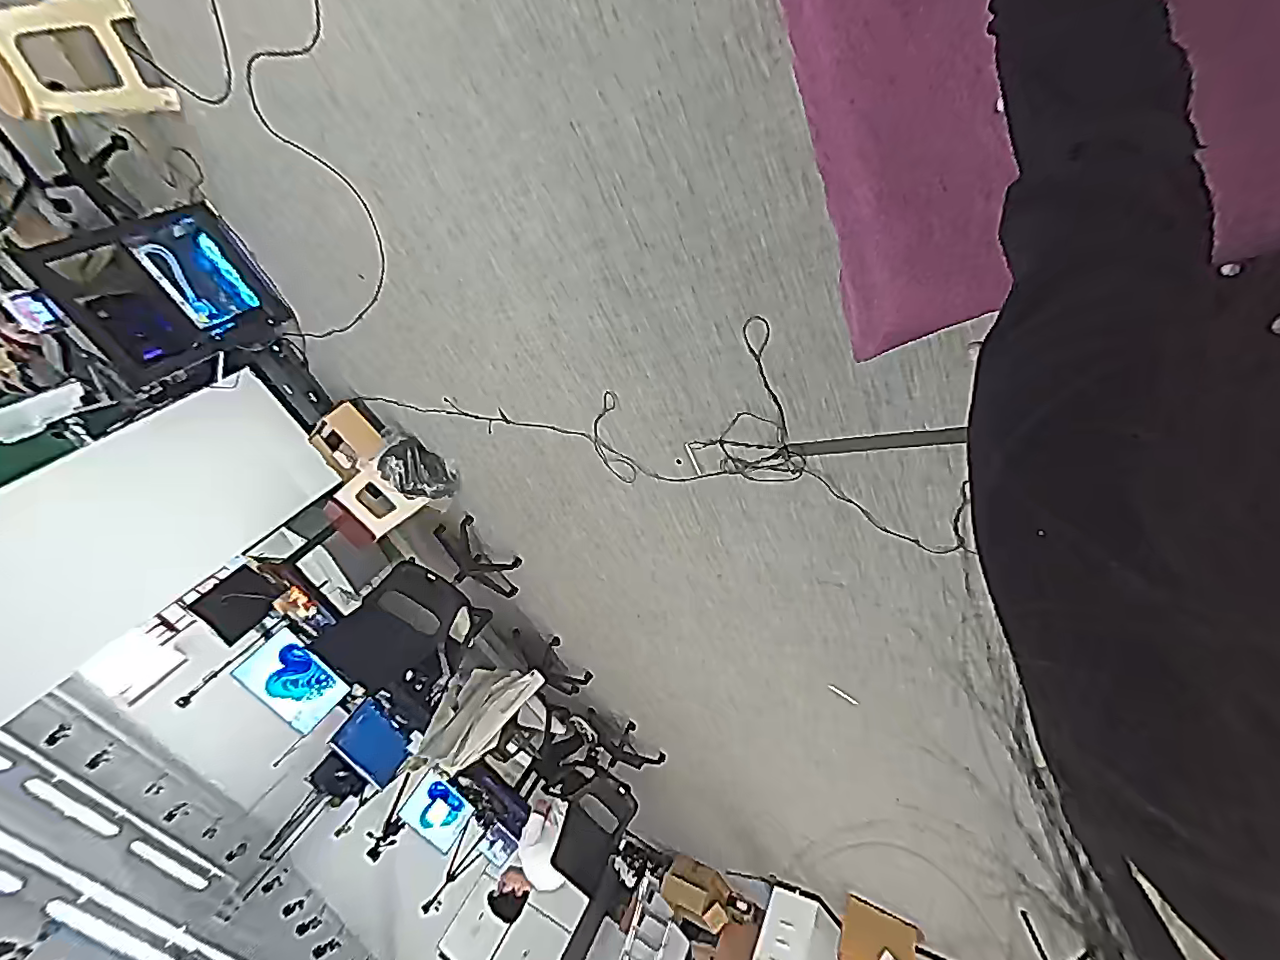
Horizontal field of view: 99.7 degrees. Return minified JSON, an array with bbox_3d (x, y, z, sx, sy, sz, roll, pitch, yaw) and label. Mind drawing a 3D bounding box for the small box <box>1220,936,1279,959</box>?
[{"bbox_3d":[1.582,1.286,1.340,0.168,0.176,0.179,1,128,37],"label":"small box"}]
